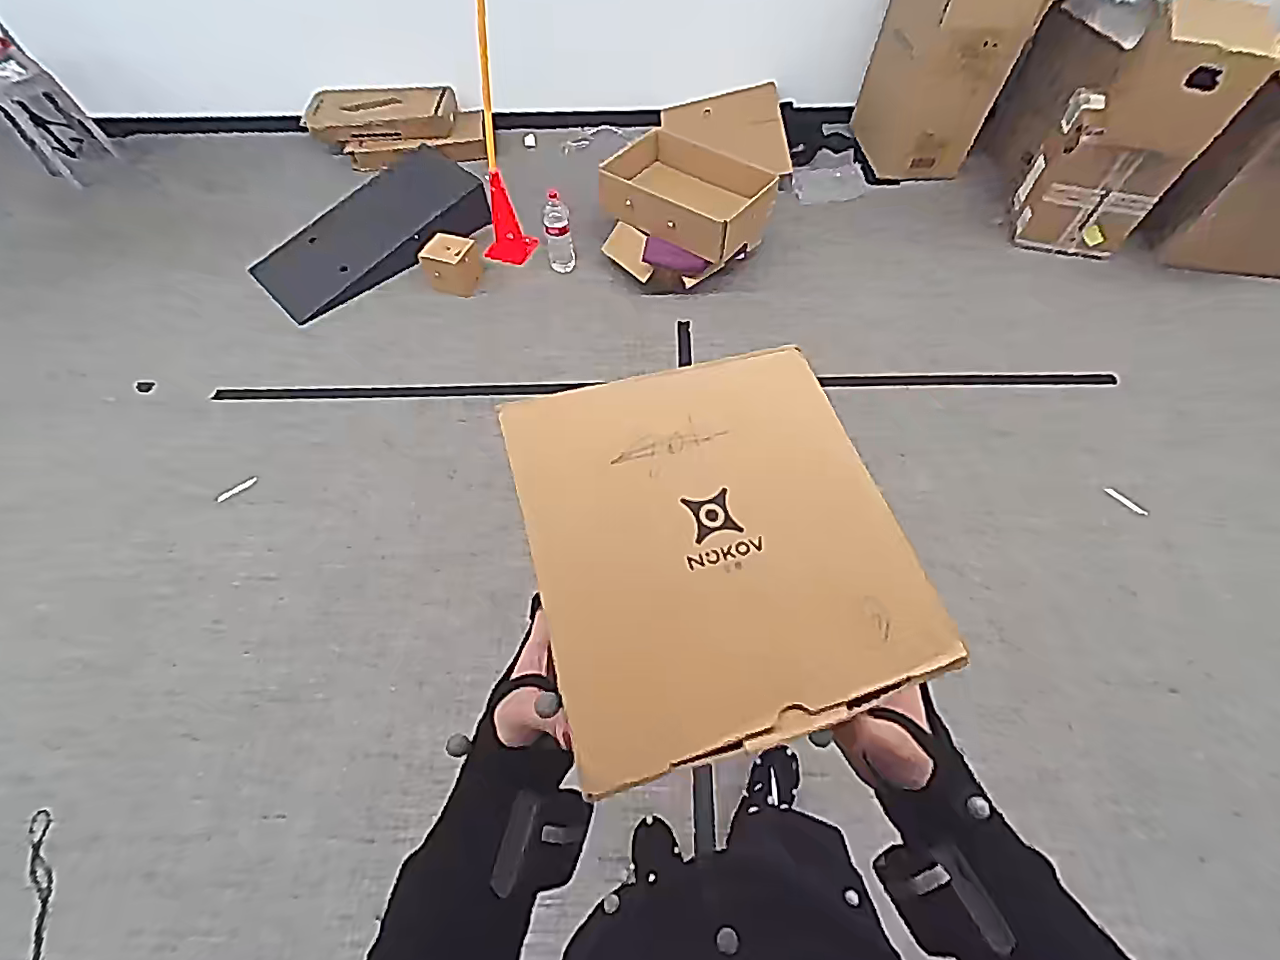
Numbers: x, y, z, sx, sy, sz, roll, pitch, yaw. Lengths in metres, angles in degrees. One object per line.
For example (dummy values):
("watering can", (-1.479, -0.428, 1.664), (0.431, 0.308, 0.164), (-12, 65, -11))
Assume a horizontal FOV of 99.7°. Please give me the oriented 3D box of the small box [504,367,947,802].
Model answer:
("small box", (0.027, 0.065, 0.323), (0.168, 0.176, 0.179), (-14, 64, -13))
